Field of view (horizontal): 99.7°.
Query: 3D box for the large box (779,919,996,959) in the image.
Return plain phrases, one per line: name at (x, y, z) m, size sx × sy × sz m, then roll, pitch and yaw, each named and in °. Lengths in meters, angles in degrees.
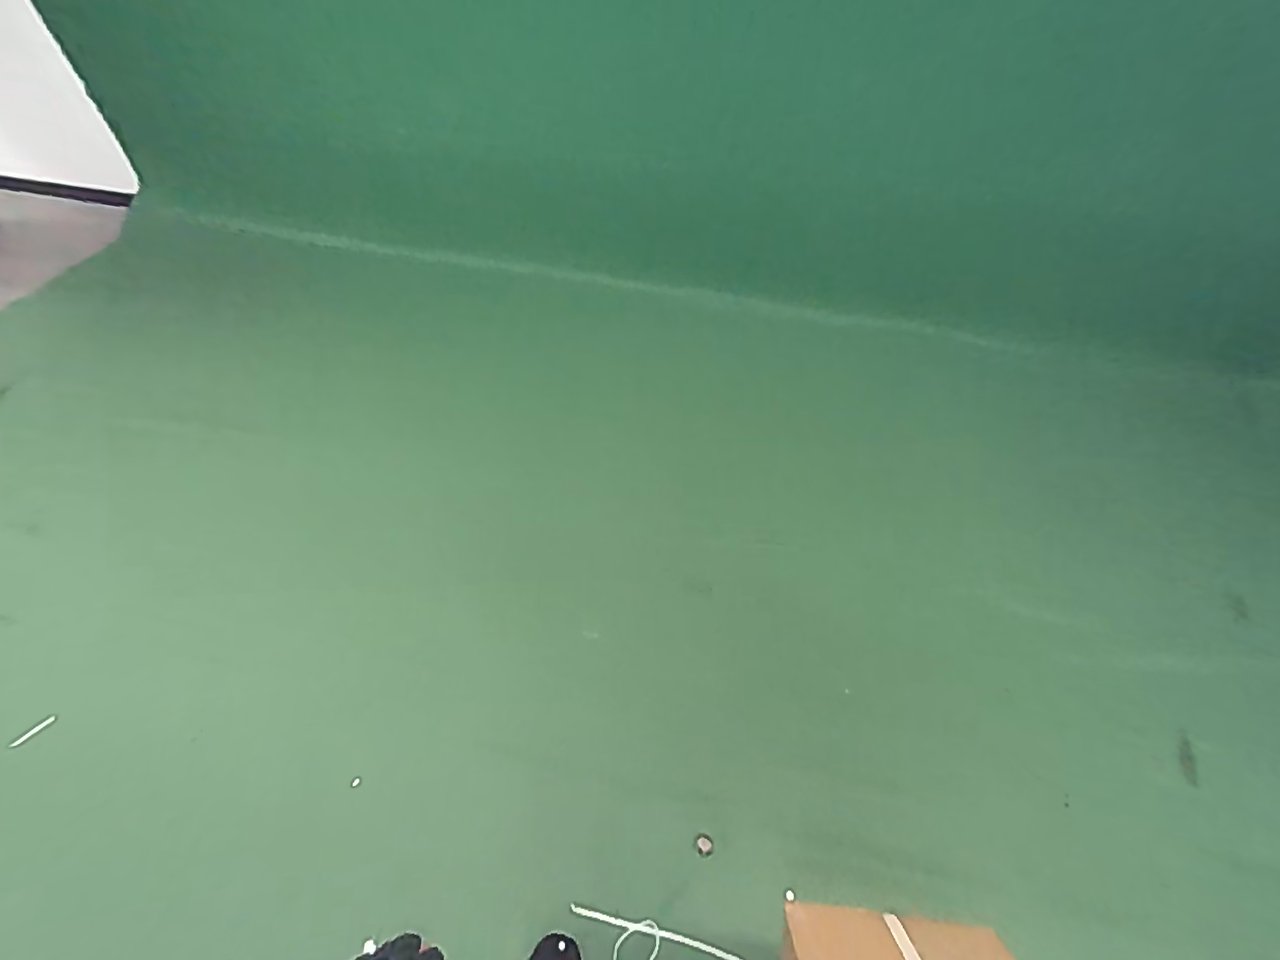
large box at (0.345, 0.821, 0.612) m, size 0.320 × 0.408 × 0.320 m, roll 6°, pitch 87°, yaw 3°
